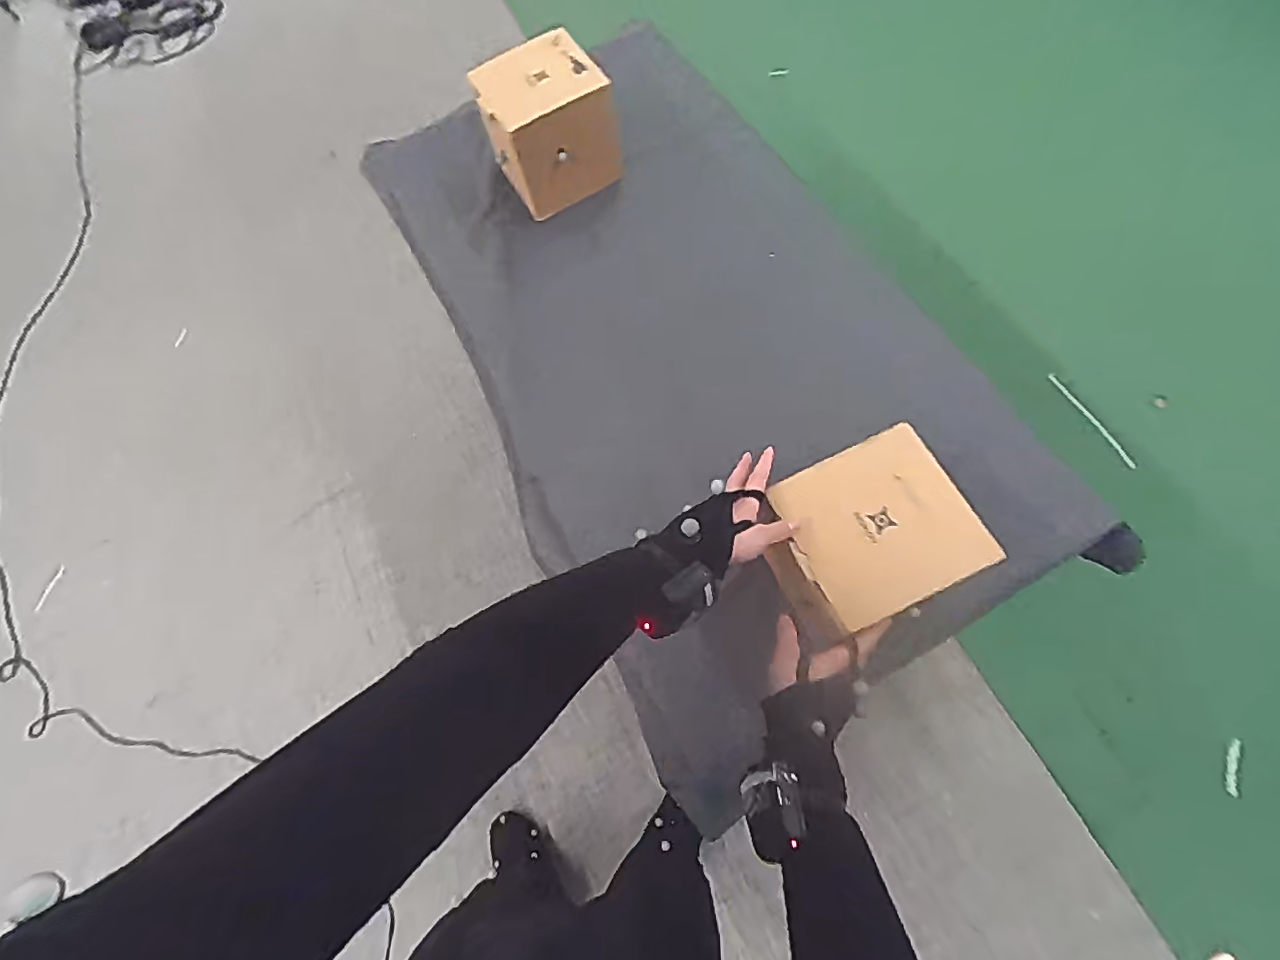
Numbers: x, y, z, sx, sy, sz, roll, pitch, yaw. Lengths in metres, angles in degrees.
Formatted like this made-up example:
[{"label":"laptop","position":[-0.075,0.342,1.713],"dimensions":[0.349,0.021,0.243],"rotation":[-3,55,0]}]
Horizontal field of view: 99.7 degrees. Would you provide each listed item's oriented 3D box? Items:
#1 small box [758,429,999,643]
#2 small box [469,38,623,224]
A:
[{"label":"small box","position":[0.248,0.076,0.620],"dimensions":[0.179,0.176,0.168],"rotation":[-26,70,-3]},{"label":"small box","position":[-0.147,-0.570,0.902],"dimensions":[0.179,0.176,0.168],"rotation":[-30,70,-4]}]
